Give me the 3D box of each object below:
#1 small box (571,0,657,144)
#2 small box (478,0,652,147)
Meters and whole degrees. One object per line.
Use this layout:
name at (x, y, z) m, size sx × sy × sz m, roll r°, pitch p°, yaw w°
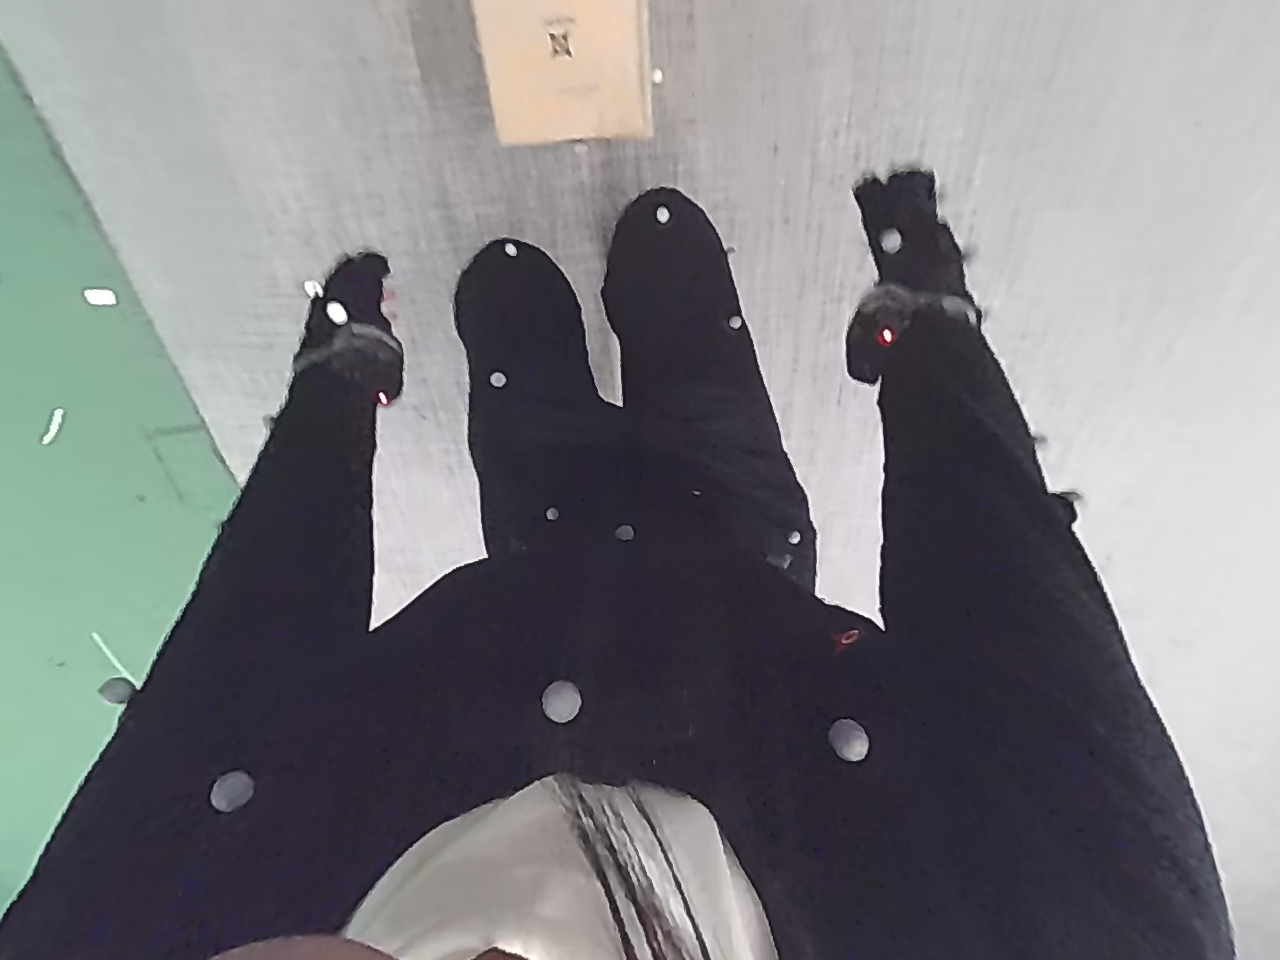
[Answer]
small box at (-0.067, -0.575, 0.766) m, size 0.179 × 0.176 × 0.168 m, roll -1°, pitch 123°, yaw 3°
small box at (-0.075, -0.494, 0.625) m, size 0.168 × 0.176 × 0.179 m, roll -1°, pitch 124°, yaw 6°
